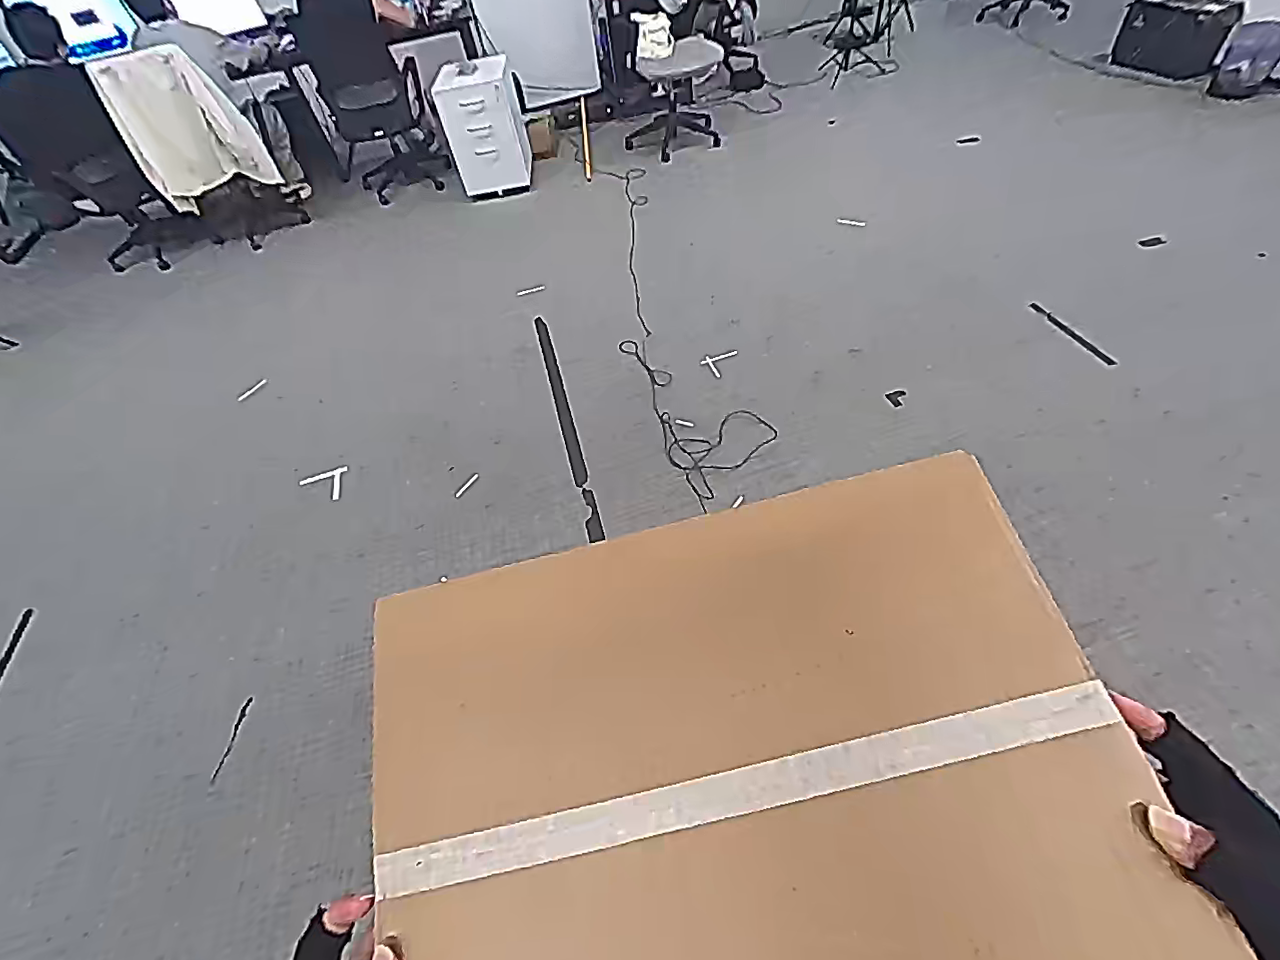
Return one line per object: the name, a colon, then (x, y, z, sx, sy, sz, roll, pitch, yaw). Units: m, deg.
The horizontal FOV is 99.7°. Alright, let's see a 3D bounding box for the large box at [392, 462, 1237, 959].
large box: (0.077, 0.232, 0.434, 0.408, 0.320, 0.320, -15, 63, 2)
